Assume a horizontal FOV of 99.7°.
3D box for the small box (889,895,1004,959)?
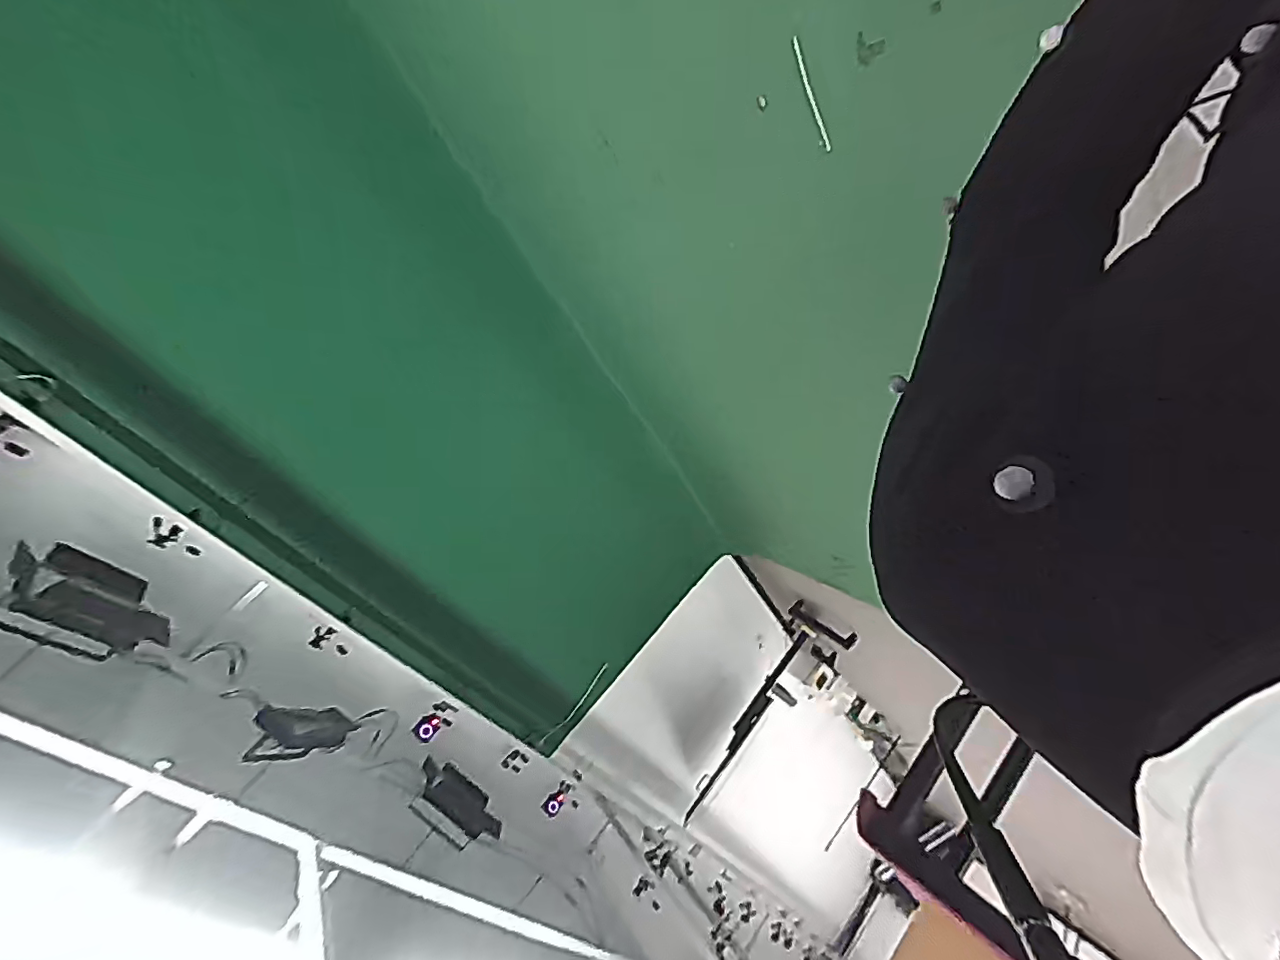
[{"bbox_3d":[0.691,1.077,1.194,0.179,0.176,0.168,21,154,54],"label":"small box"}]
